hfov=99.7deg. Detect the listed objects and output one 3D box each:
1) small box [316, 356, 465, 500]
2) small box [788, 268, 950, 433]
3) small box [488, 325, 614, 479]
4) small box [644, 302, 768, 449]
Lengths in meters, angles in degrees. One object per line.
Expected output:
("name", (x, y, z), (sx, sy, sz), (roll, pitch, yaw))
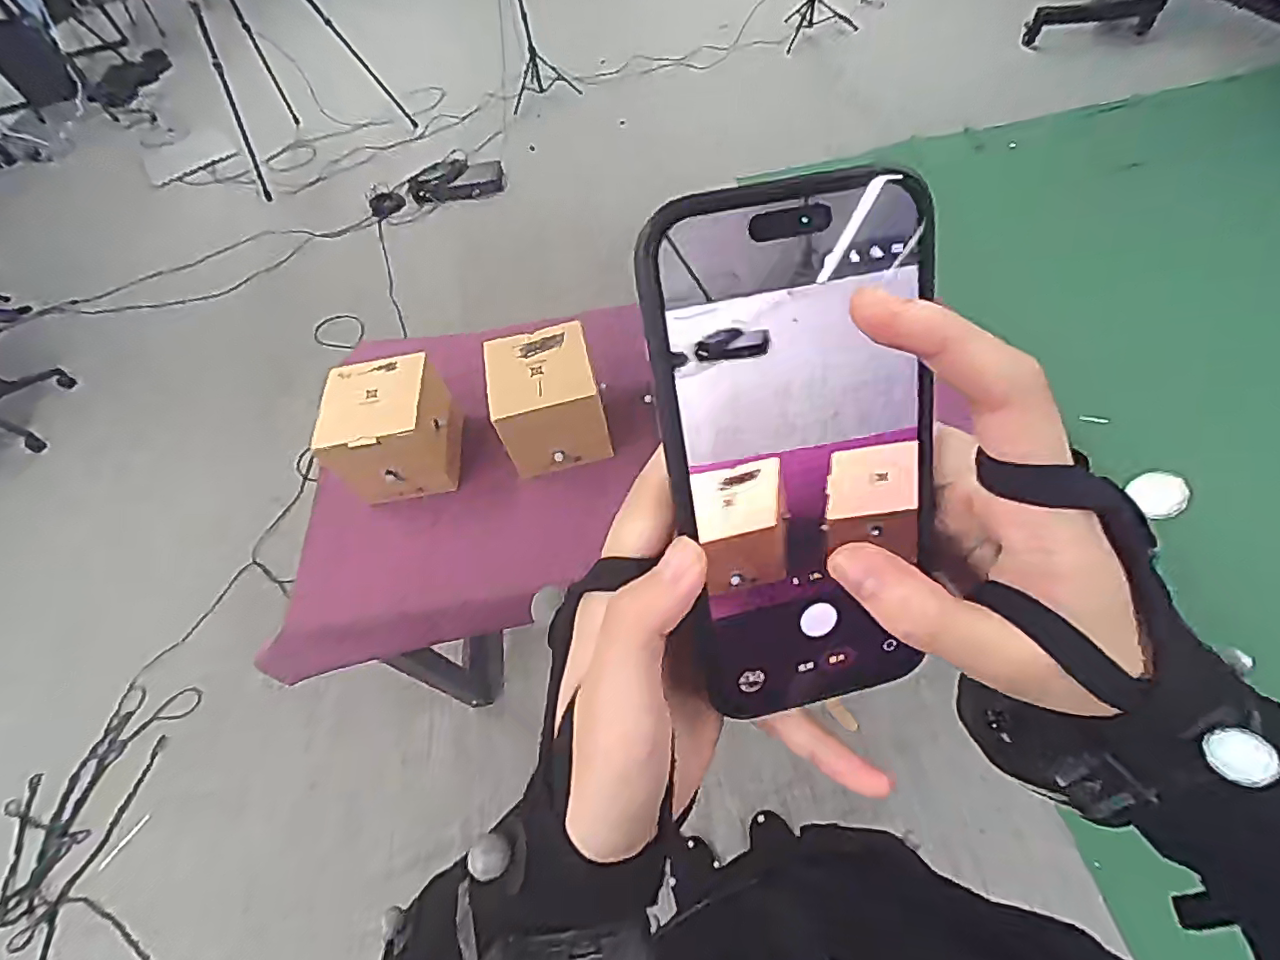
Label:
("small box", (-0.412, -0.080, 0.928), (0.168, 0.176, 0.179), (-10, 57, 2))
("small box", (0.363, -0.209, 0.896), (0.179, 0.176, 0.168), (-28, 57, -10))
("small box", (-0.149, -0.129, 0.921), (0.168, 0.176, 0.179), (-14, 57, -1))
("small box", (0.108, -0.168, 0.909), (0.179, 0.176, 0.168), (-8, 57, 3))
